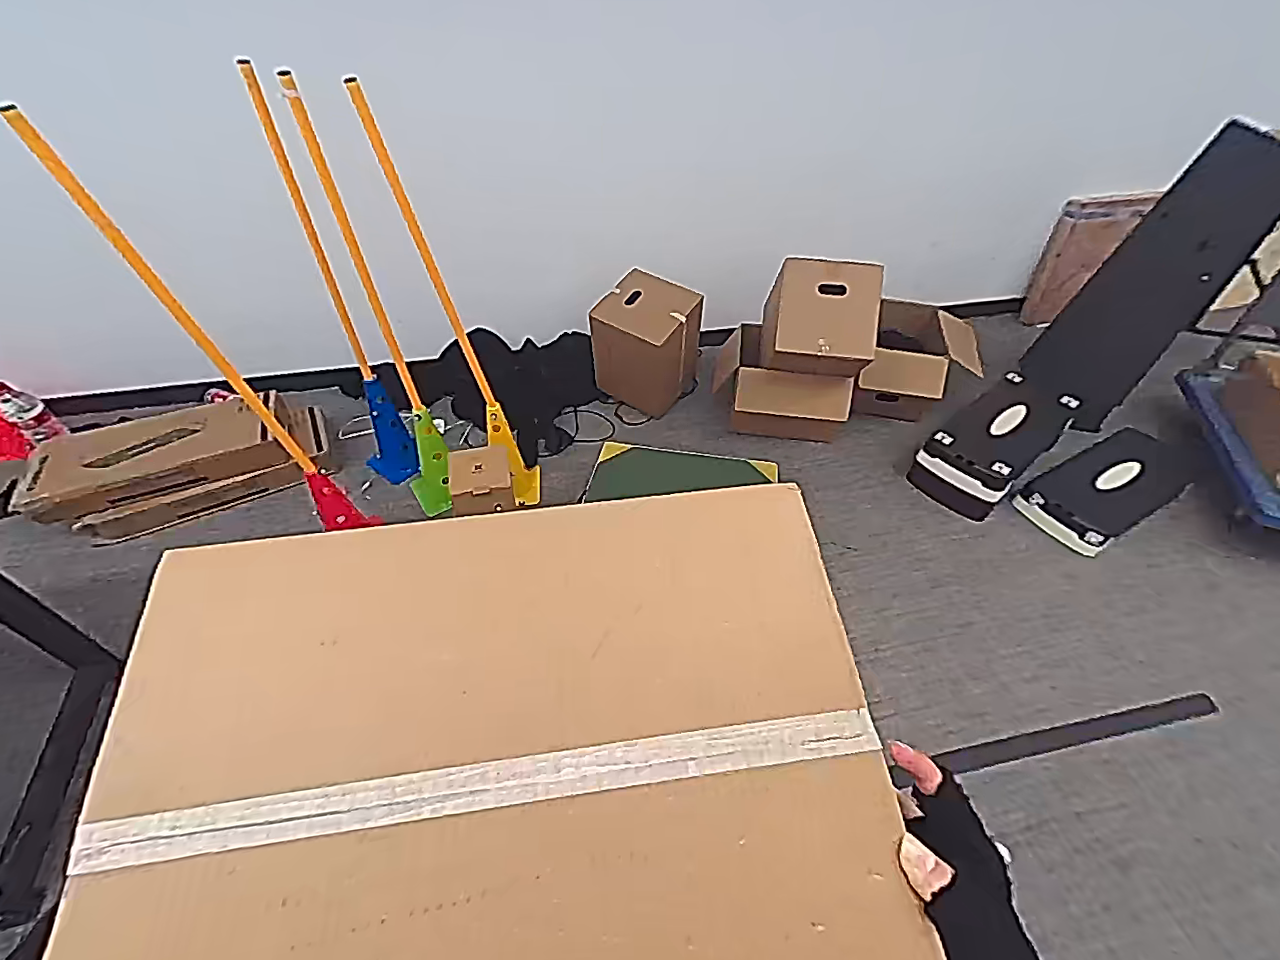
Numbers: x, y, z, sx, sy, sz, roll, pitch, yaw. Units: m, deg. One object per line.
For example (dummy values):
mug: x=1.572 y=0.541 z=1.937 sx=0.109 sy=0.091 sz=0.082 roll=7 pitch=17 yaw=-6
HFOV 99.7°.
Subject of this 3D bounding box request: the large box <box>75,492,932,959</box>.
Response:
large box: x=-0.075 y=0.236 z=0.419 sx=0.408 sy=0.320 sz=0.320 roll=-6 pitch=62 yaw=-4
